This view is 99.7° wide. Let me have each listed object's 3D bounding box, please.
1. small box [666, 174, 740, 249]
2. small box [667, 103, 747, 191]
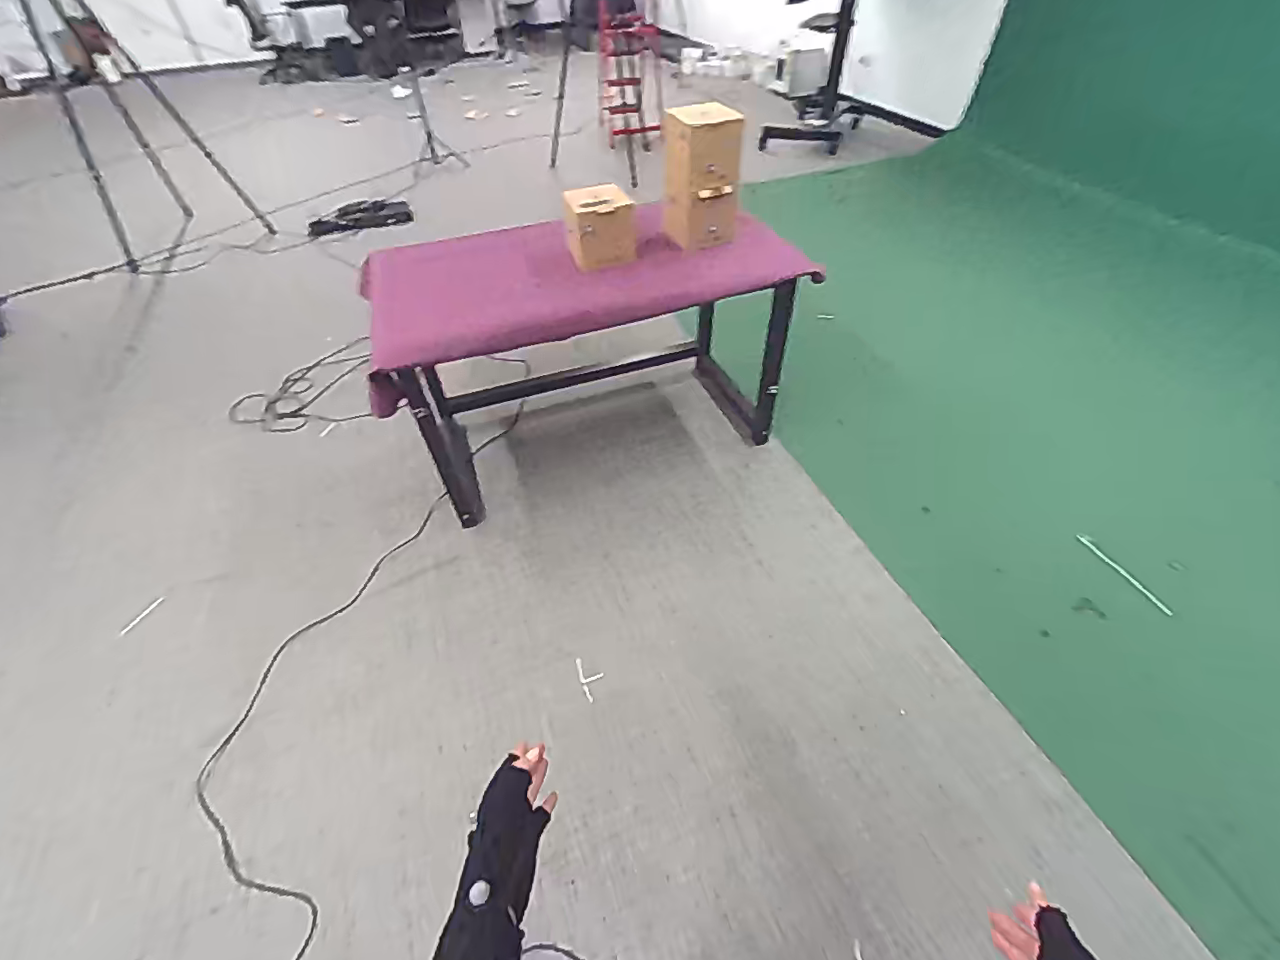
[{"bbox_3d":[0.184,-0.830,1.649,0.168,0.176,0.179,-19,50,-13],"label":"small box"},{"bbox_3d":[0.180,-0.944,1.533,0.168,0.176,0.179,-18,50,-14],"label":"small box"}]
